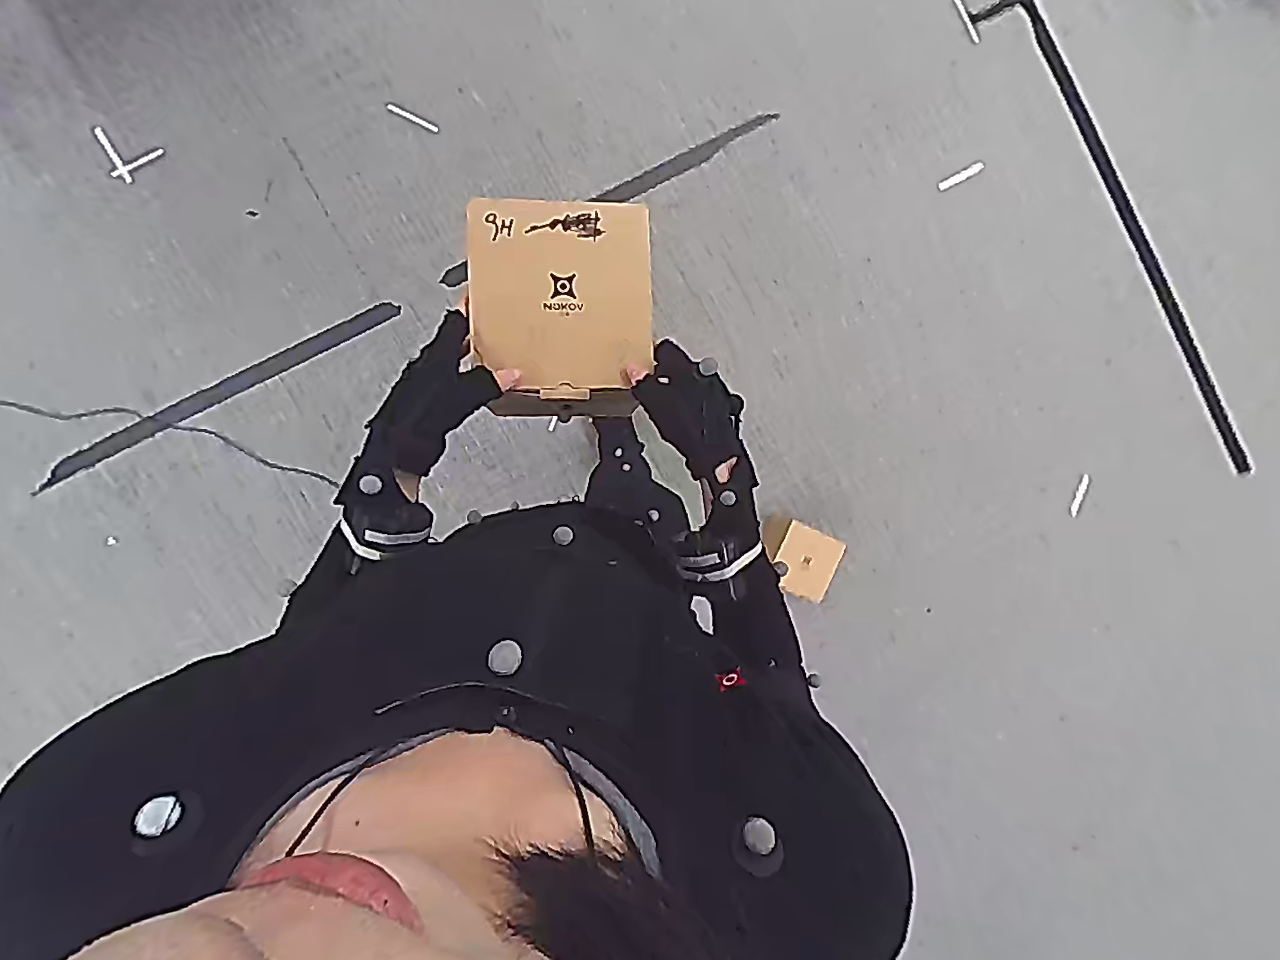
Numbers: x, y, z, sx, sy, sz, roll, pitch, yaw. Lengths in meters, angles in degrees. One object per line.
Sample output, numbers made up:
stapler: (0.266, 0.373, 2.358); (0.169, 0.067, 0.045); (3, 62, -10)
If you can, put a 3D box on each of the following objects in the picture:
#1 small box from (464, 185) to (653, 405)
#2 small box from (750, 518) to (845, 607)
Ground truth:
small box: (-0.080, -0.171, 0.556); (0.168, 0.176, 0.179); (-2, 90, -8)
small box: (0.421, 0.220, 1.479); (0.168, 0.176, 0.179); (25, 88, -6)
